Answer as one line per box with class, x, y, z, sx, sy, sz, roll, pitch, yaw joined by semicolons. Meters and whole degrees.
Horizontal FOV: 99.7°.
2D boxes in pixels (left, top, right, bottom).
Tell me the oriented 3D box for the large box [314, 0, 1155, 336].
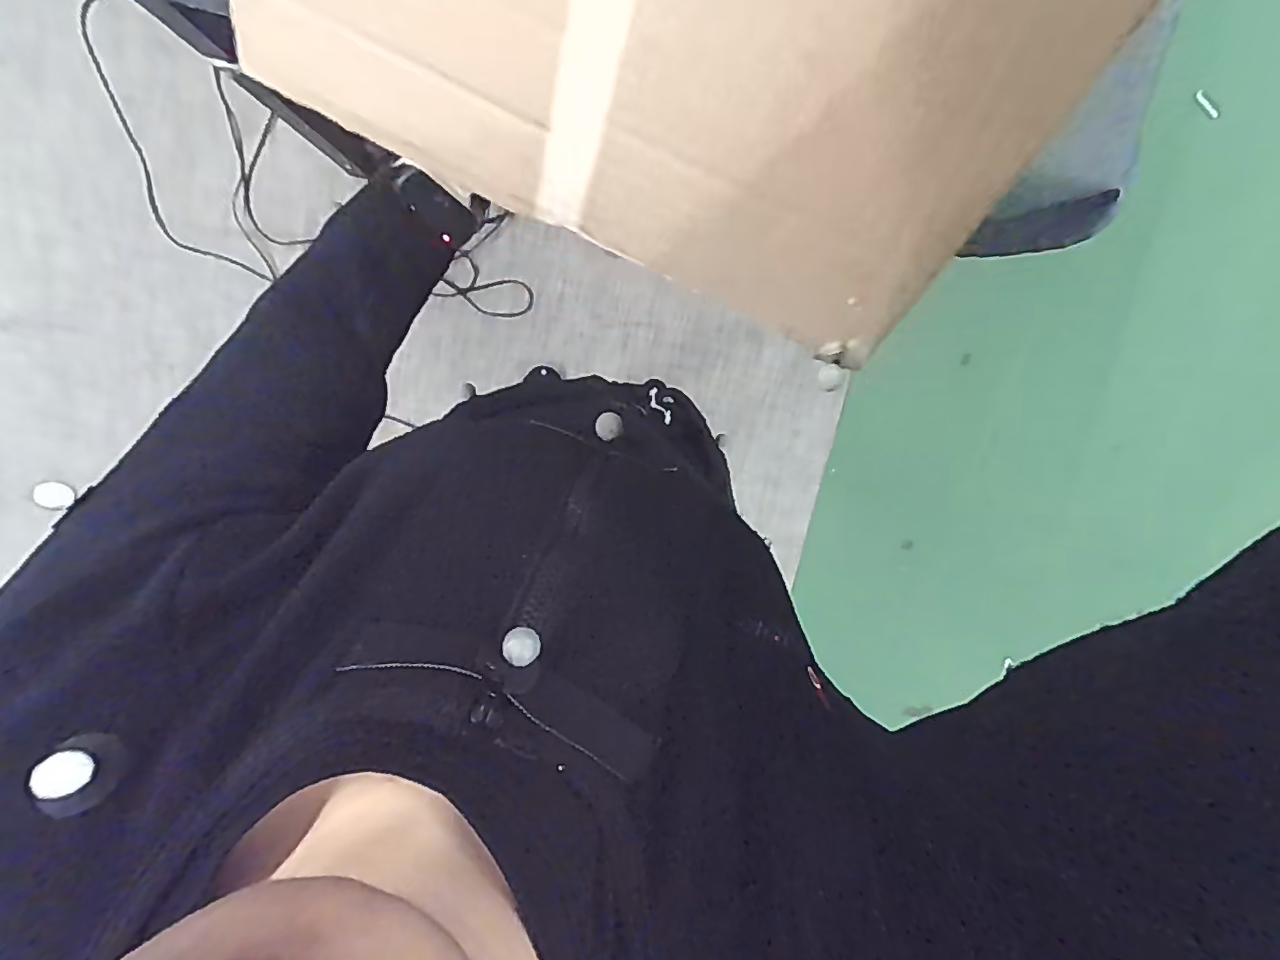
large box;0.082;-0.355;0.225;0.320;0.320;0.408;24;137;-2
